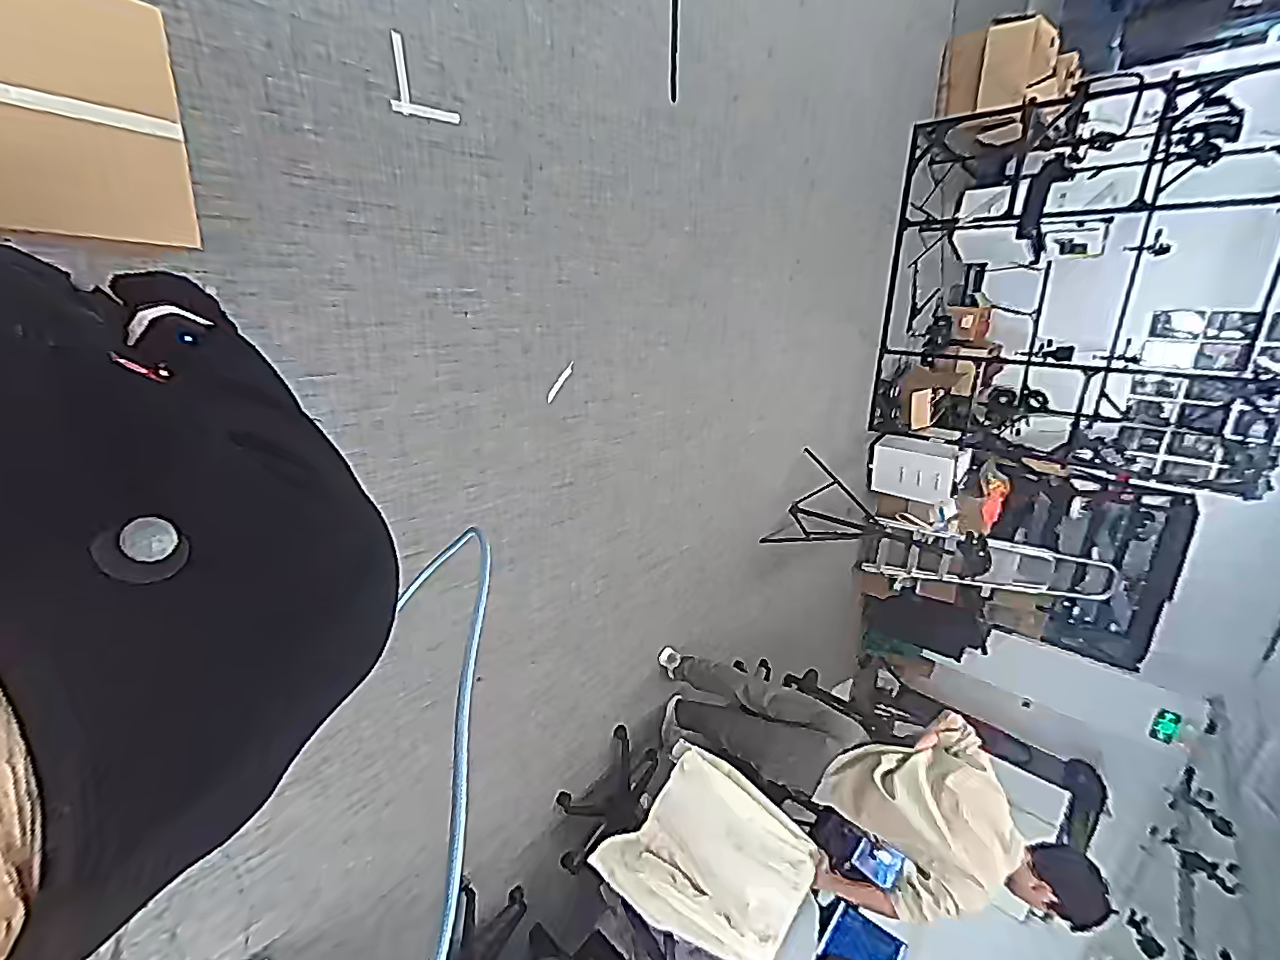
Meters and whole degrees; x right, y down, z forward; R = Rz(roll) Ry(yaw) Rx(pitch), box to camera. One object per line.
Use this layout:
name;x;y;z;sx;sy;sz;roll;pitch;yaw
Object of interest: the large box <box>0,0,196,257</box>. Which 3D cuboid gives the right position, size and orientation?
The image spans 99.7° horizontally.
large box;-0.920;-0.495;0.738;0.408;0.320;0.320;-16;115;-47
